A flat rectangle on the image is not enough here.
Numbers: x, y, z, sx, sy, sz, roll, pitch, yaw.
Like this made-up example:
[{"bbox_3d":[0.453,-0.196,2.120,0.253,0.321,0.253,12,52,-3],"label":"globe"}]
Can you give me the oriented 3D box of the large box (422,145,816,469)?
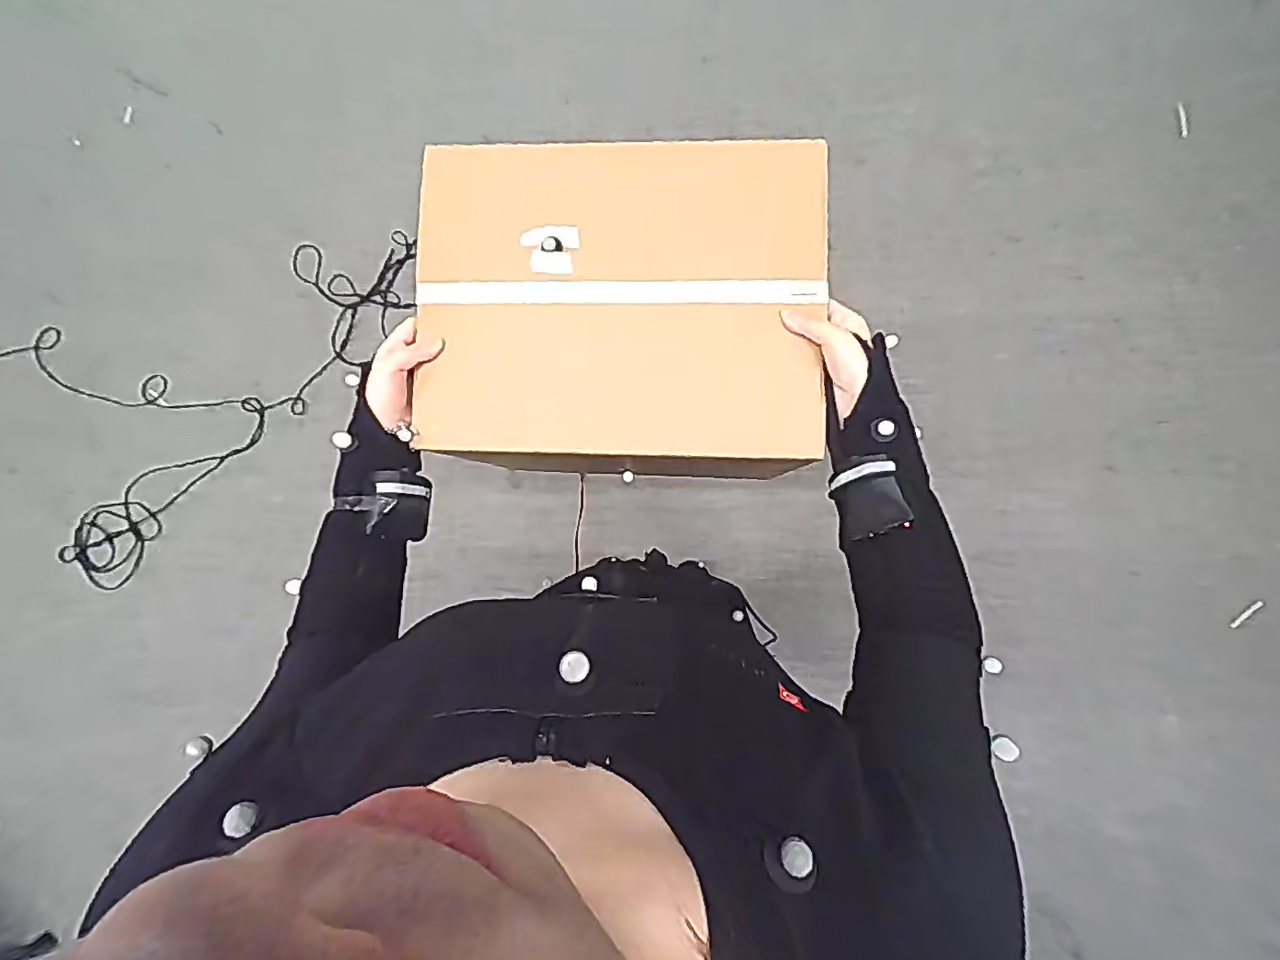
[{"bbox_3d":[-0.011,-0.174,0.693,0.408,0.320,0.320,1,87,5],"label":"large box"}]
